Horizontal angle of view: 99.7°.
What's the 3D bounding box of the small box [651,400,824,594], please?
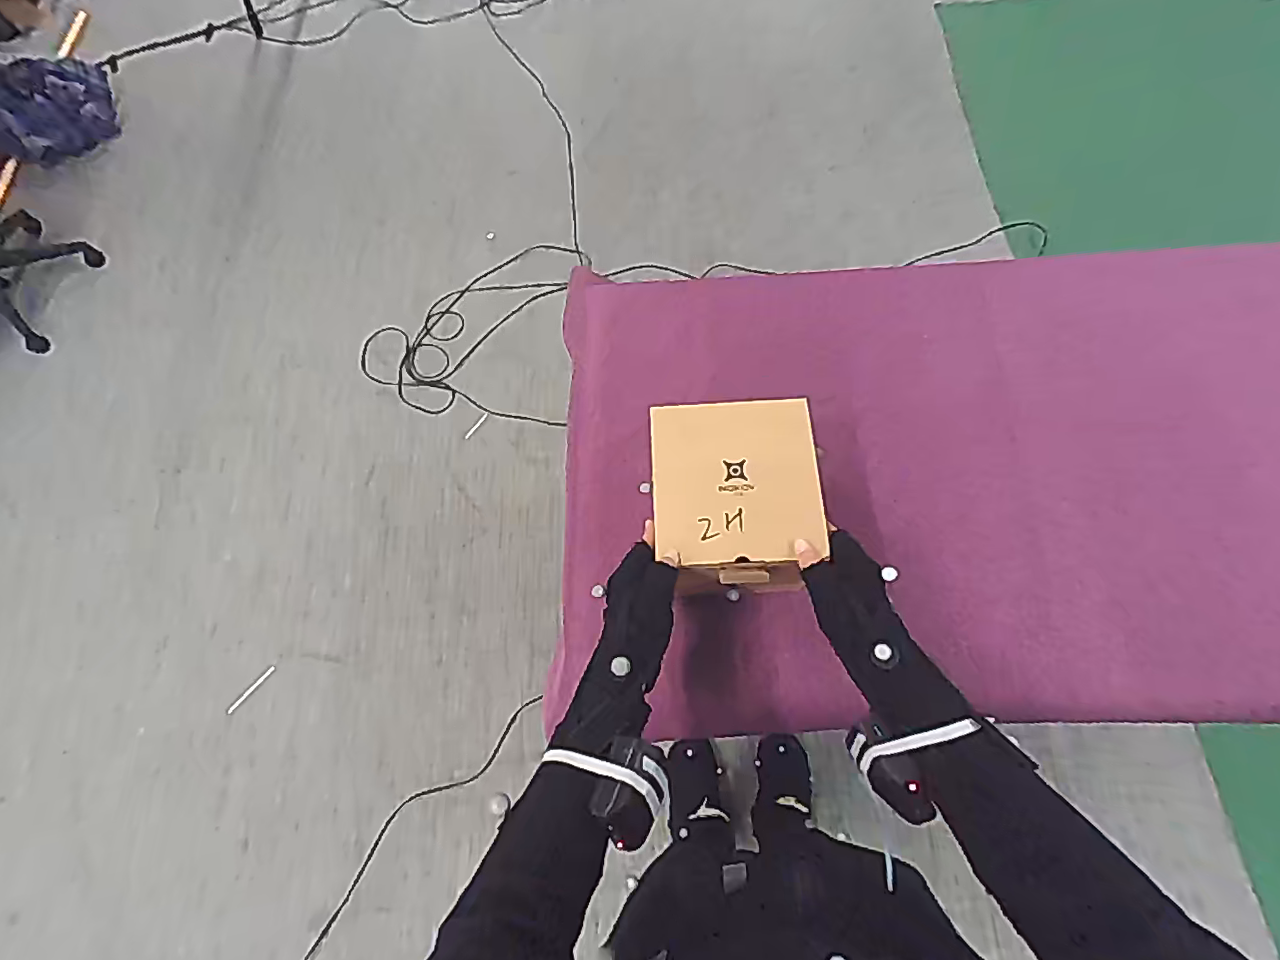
[{"bbox_3d":[0.098,0.028,0.619,0.168,0.176,0.179,-3,69,4],"label":"small box"}]
